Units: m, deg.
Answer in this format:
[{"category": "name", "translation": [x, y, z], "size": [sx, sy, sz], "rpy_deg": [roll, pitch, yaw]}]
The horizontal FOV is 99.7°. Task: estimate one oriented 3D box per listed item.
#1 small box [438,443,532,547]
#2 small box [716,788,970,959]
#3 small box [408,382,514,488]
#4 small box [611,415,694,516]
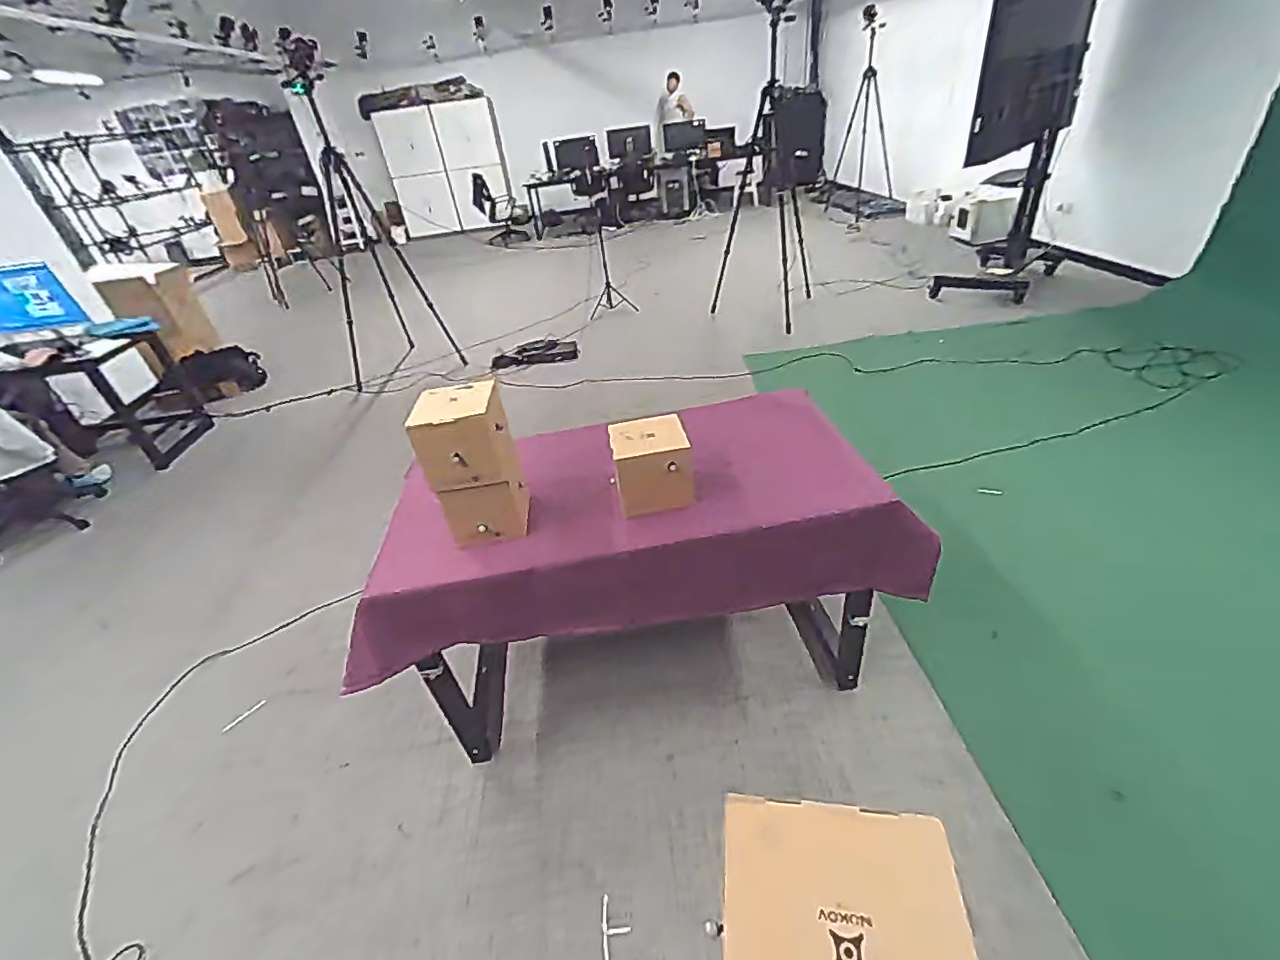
[{"category": "small box", "translation": [-0.361, 0.034, 1.297], "size": [0.168, 0.176, 0.179], "rpy_deg": [-10, 35, -1]}, {"category": "small box", "translation": [0.144, 0.374, 0.422], "size": [0.168, 0.176, 0.179], "rpy_deg": [1, 41, 9]}, {"category": "small box", "translation": [-0.385, -0.094, 1.197], "size": [0.168, 0.176, 0.179], "rpy_deg": [-9, 35, -1]}, {"category": "small box", "translation": [0.032, -0.035, 1.306], "size": [0.179, 0.176, 0.168], "rpy_deg": [-11, 34, -2]}]
